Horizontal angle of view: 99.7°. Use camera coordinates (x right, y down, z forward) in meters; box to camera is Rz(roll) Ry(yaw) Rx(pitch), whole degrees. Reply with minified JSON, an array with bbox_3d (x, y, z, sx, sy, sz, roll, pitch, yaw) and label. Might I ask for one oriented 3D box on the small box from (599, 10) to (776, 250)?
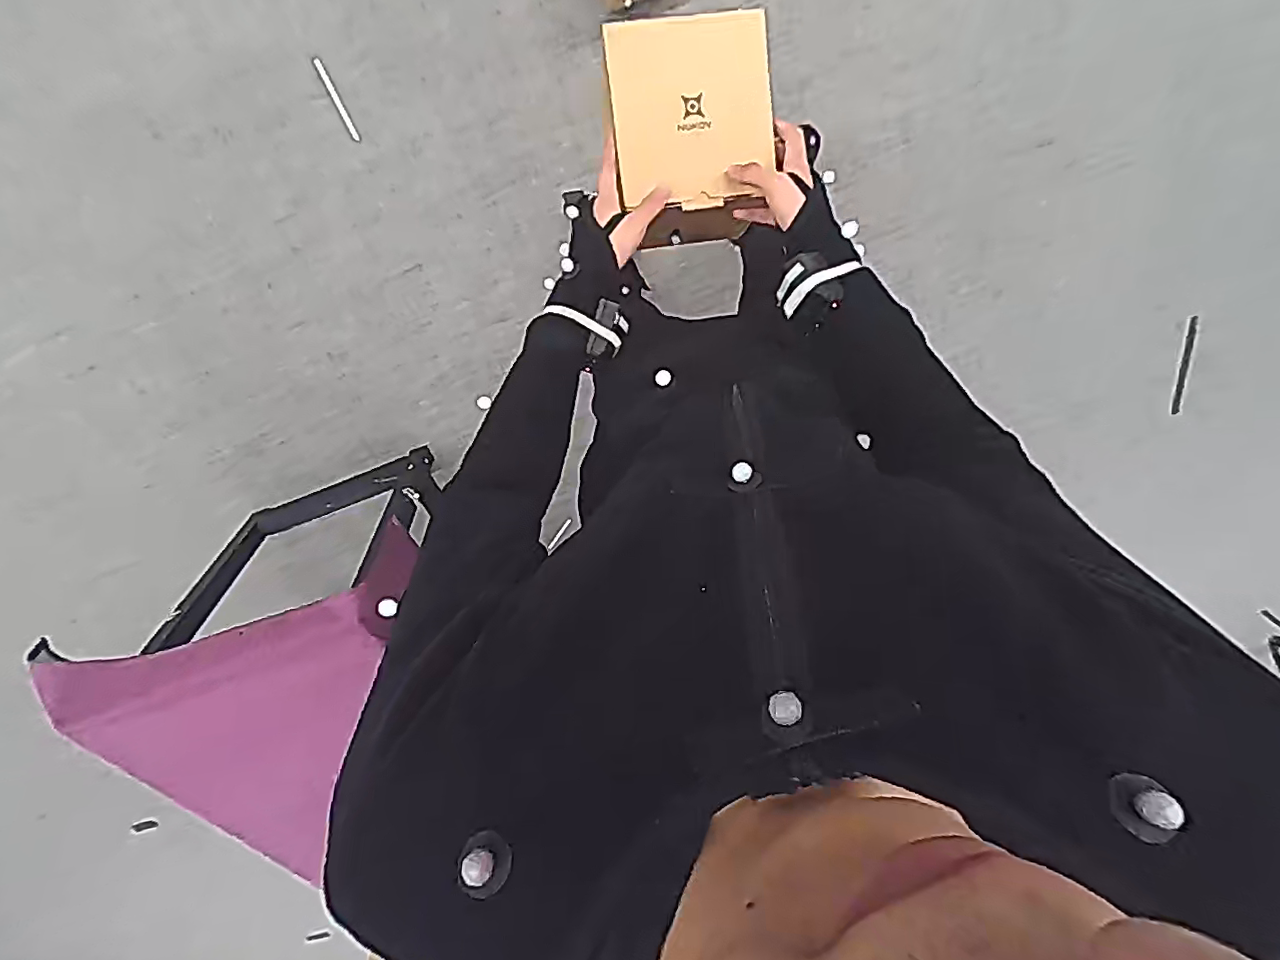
[{"bbox_3d":[0.045,-0.388,0.628,0.168,0.176,0.179,-9,100,-3],"label":"small box"}]
